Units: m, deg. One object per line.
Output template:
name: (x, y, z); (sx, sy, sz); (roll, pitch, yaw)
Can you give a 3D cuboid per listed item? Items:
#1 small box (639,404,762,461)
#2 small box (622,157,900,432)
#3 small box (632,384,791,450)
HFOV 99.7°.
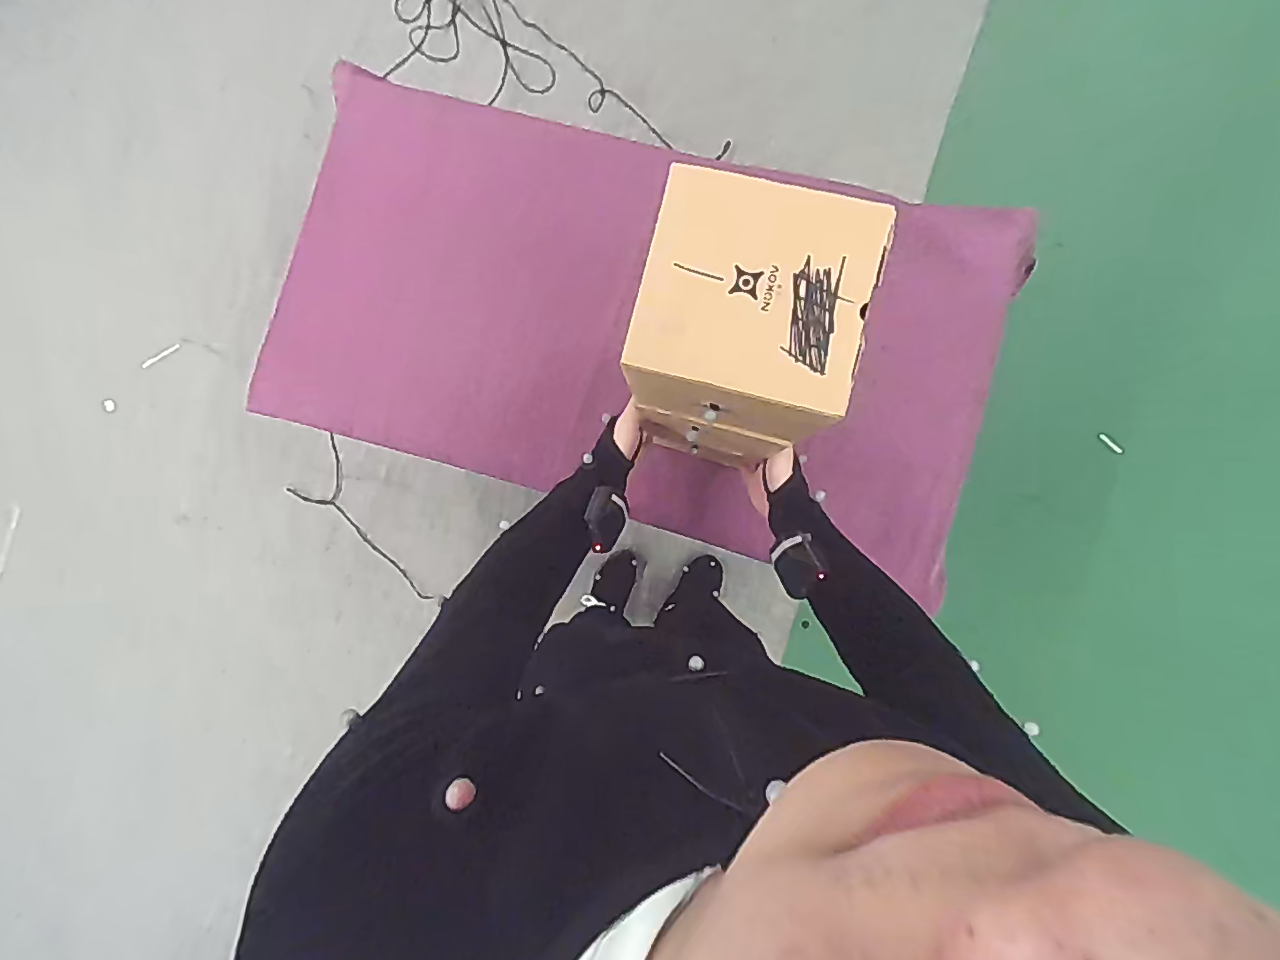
small box: (0.109, -0.131, 0.813); (0.179, 0.176, 0.168); (18, 89, 3)
small box: (0.095, -0.145, 0.486); (0.179, 0.176, 0.168); (15, 89, 5)
small box: (0.102, -0.138, 0.650); (0.179, 0.176, 0.168); (16, 90, 5)
